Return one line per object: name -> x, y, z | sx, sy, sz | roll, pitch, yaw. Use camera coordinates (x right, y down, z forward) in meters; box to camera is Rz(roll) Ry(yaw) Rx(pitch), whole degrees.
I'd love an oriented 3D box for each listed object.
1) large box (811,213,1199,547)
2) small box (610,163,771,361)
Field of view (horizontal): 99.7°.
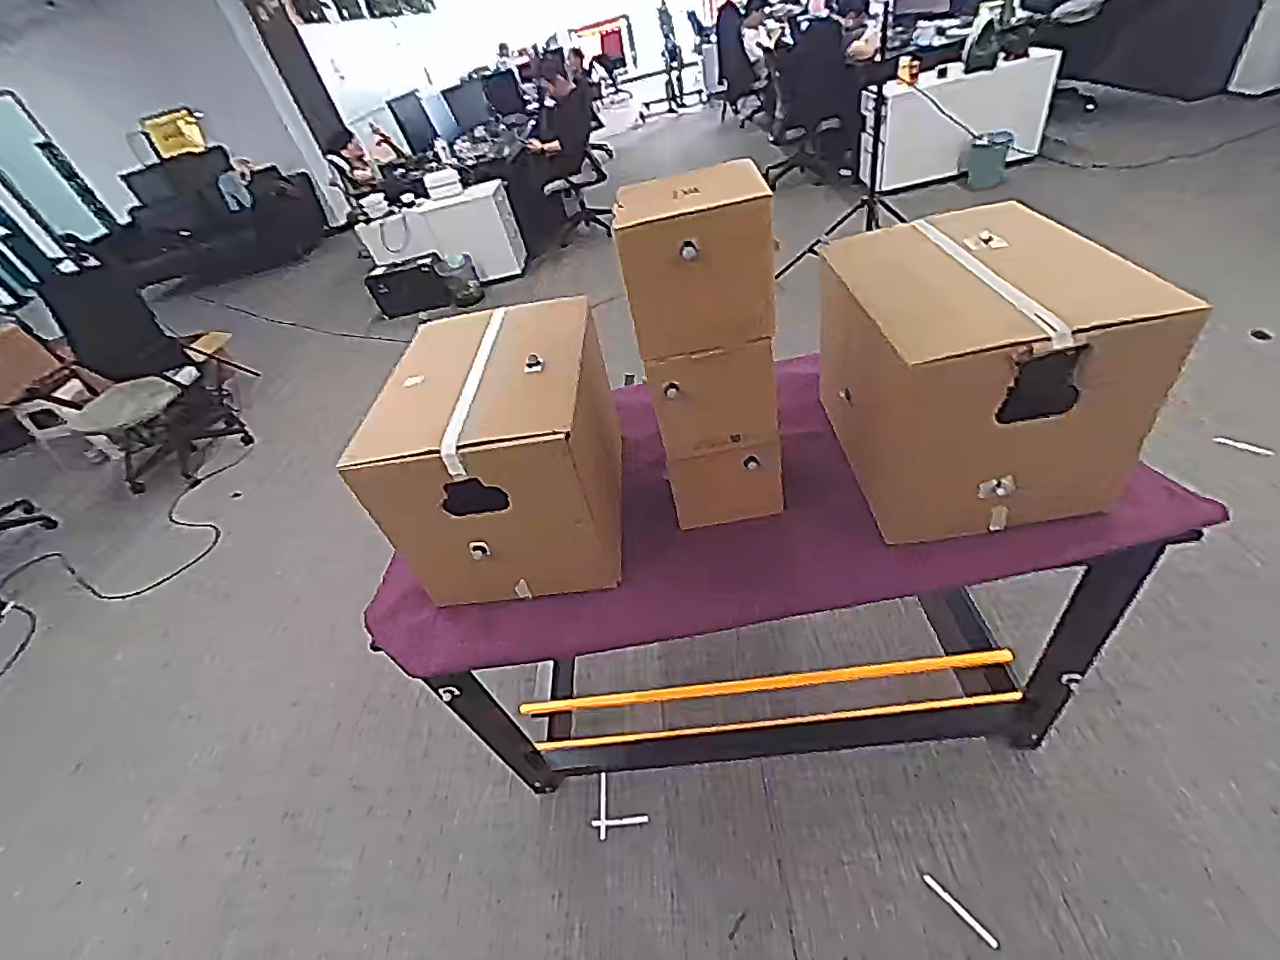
large box -> 0.474, -0.163, 0.831 | 0.320, 0.320, 0.408 | -10, 40, 7
small box -> 0.069, -0.275, 0.691 | 0.179, 0.176, 0.168 | -9, 41, 9
